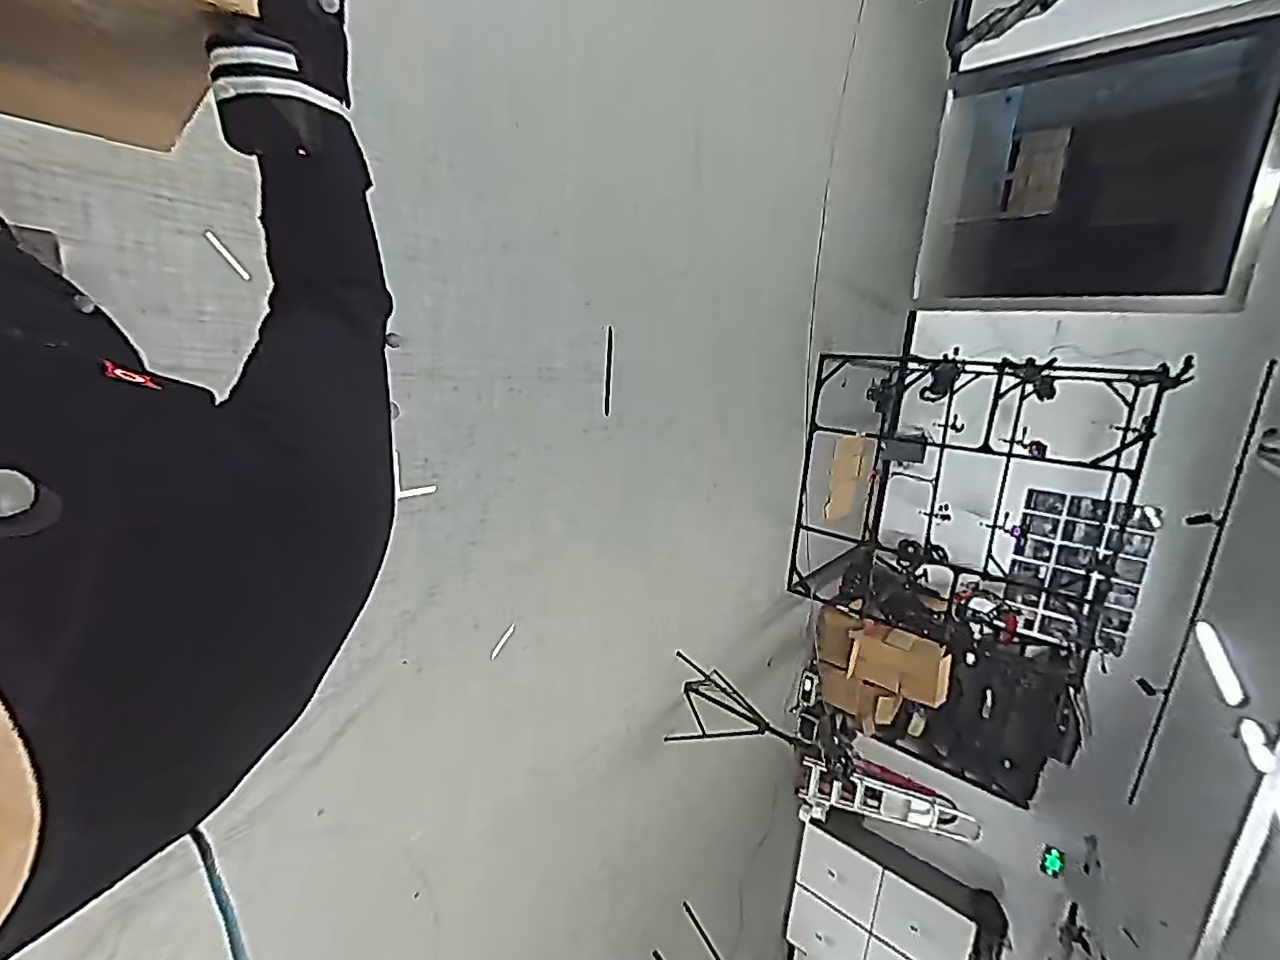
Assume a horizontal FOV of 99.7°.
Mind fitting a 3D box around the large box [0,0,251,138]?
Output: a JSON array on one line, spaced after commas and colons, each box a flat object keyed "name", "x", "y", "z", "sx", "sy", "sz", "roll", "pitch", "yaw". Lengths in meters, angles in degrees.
[{"name": "large box", "x": -0.497, "y": -0.440, "z": 0.273, "sx": 0.408, "sy": 0.320, "sz": 0.320, "roll": -13, "pitch": 107, "yaw": -48}]
